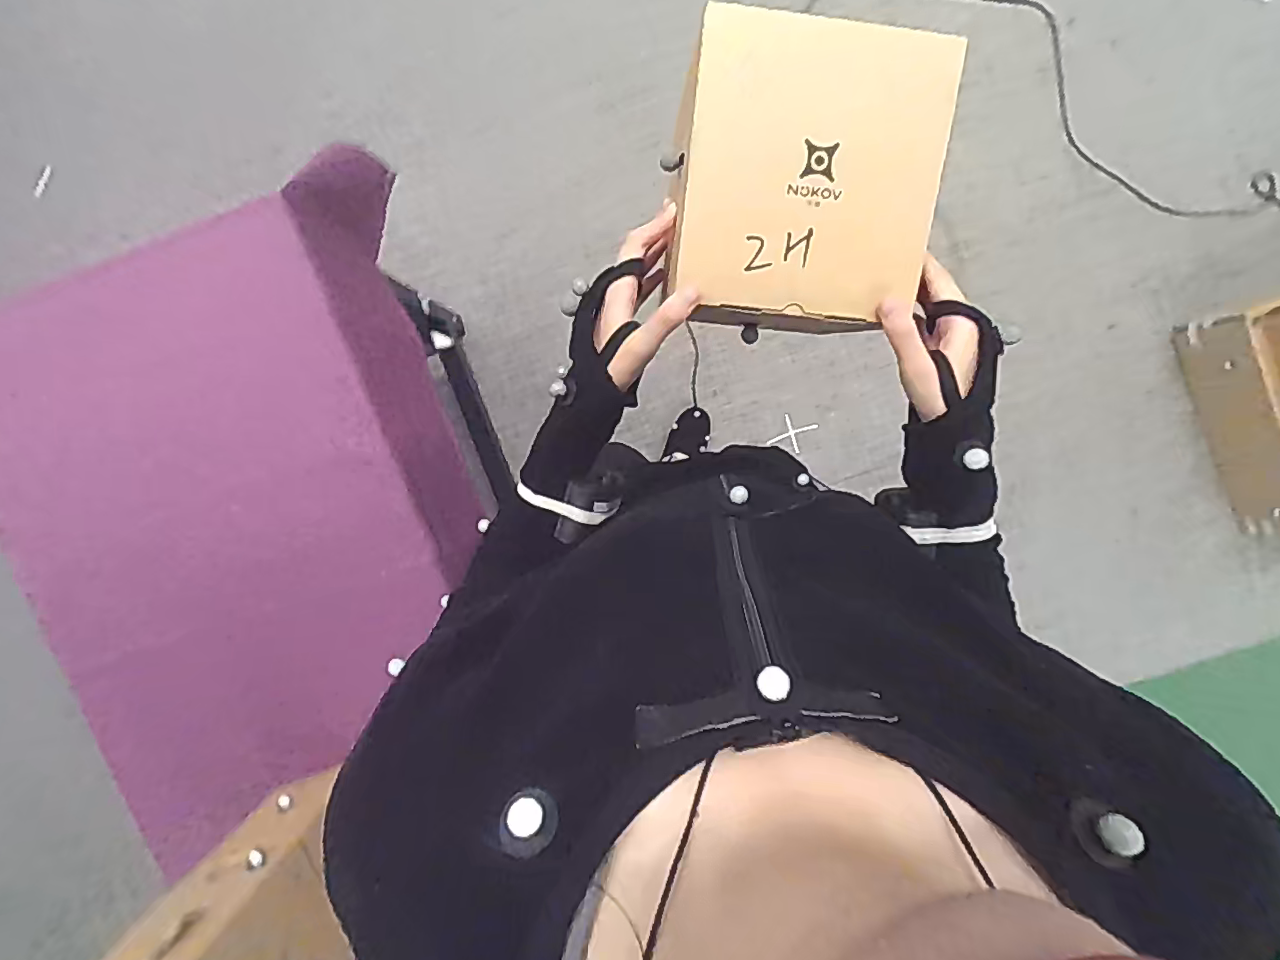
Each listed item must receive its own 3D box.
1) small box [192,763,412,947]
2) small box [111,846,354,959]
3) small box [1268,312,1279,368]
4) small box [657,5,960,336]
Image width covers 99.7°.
[{"bbox_3d":[-0.462,0.537,0.768,0.168,0.176,0.179,-22,95,4],"label":"small box"},{"bbox_3d":[-0.465,0.554,0.604,0.168,0.176,0.179,-22,96,3],"label":"small box"},{"bbox_3d":[1.693,-0.357,1.298,0.168,0.176,0.179,-24,97,6],"label":"small box"},{"bbox_3d":[0.108,-0.216,0.431,0.168,0.176,0.179,7,104,-4],"label":"small box"}]
